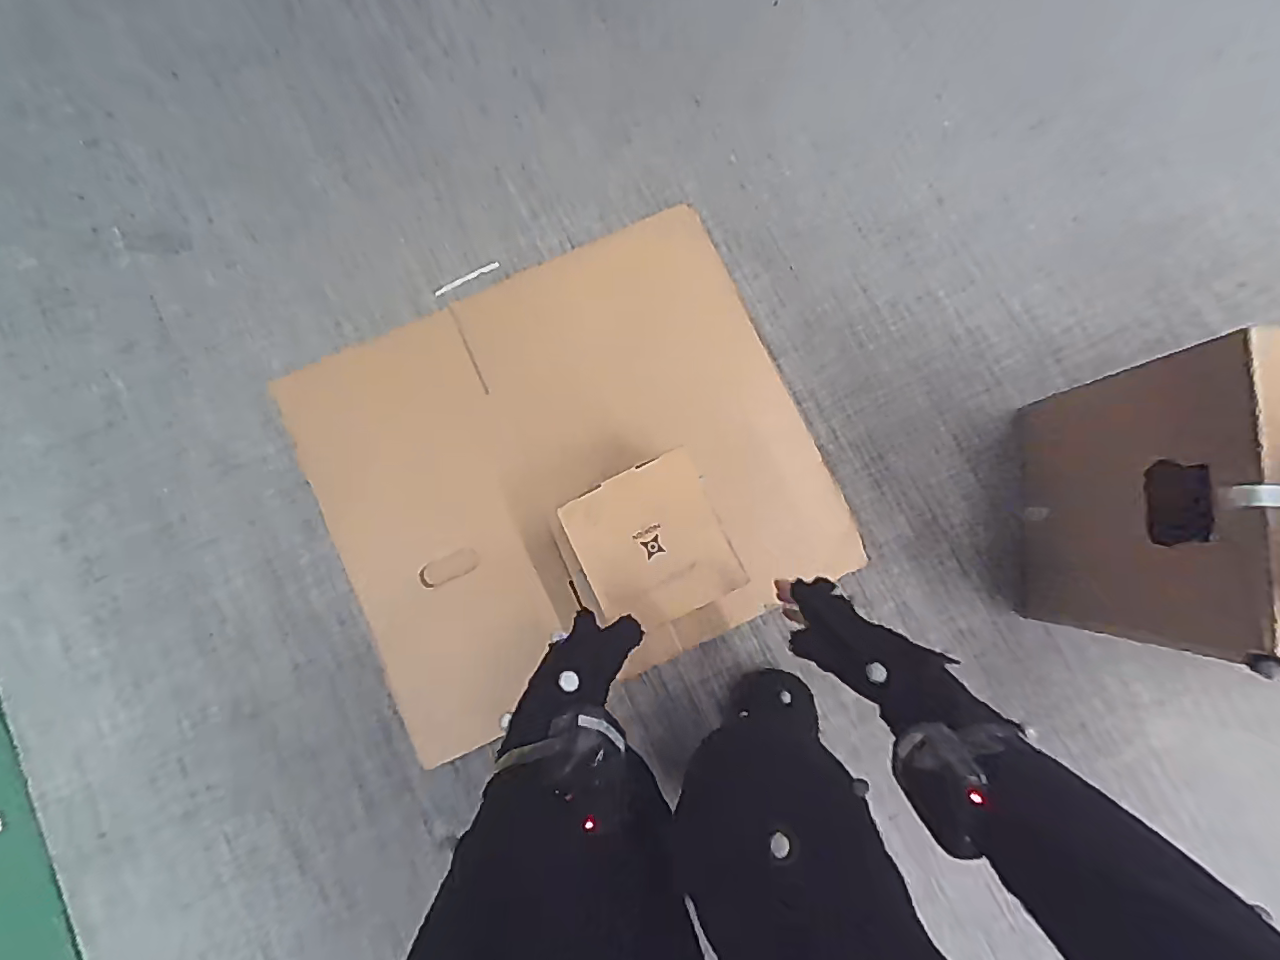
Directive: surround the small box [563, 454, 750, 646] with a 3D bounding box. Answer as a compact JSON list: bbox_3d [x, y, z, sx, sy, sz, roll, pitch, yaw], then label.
[{"bbox_3d":[0.020,0.088,0.703,0.168,0.176,0.179,-27,84,1],"label":"small box"}]
